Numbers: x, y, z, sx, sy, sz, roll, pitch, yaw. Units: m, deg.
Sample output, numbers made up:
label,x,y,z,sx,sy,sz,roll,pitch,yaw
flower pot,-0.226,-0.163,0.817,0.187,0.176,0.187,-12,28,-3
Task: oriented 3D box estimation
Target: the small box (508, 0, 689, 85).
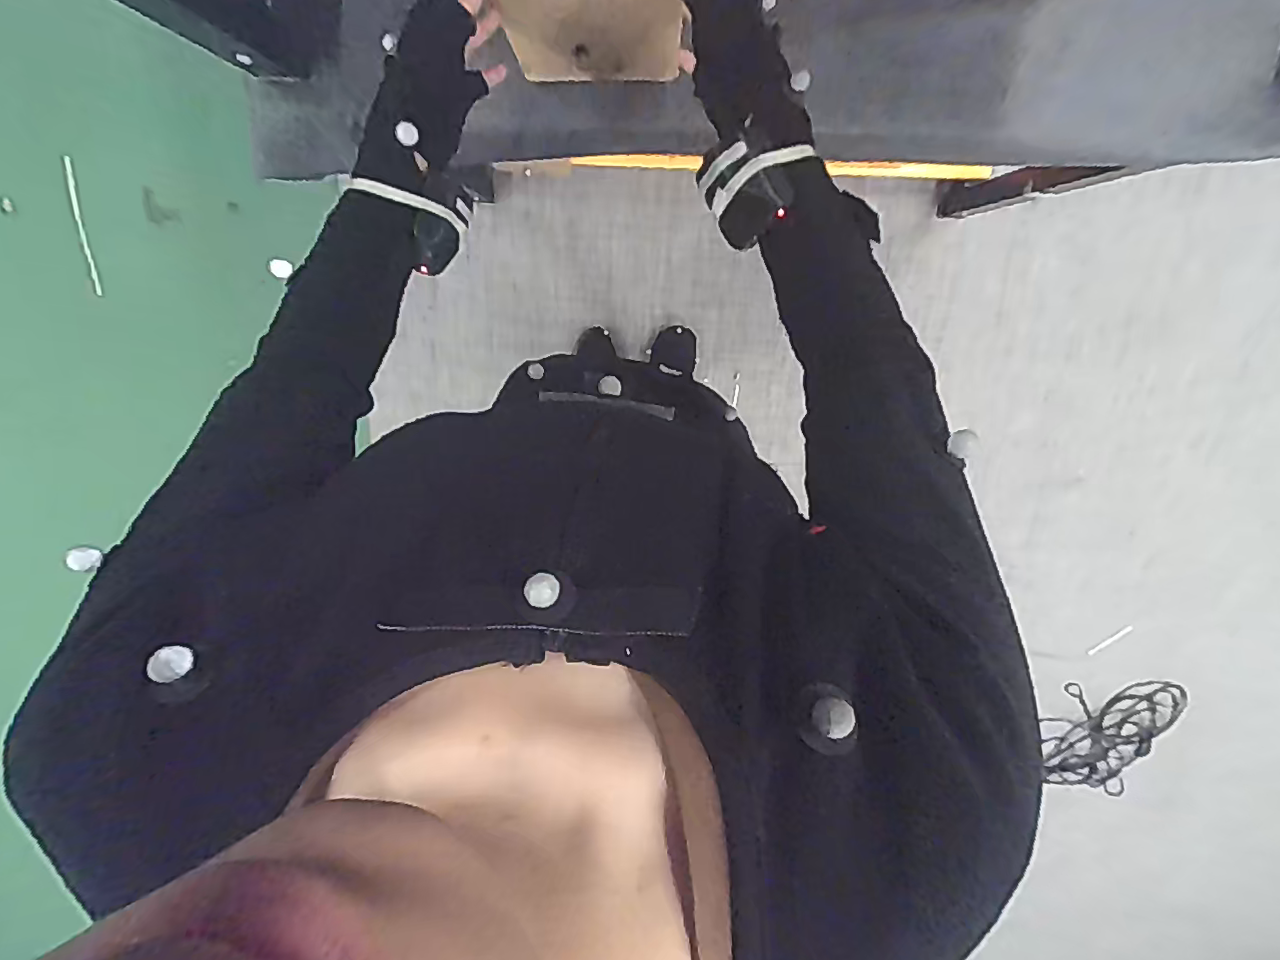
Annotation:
label,x,y,z,sx,sy,sz,roll,pitch,yaw
small box,-0.039,-0.508,0.501,0.168,0.176,0.179,0,104,0
